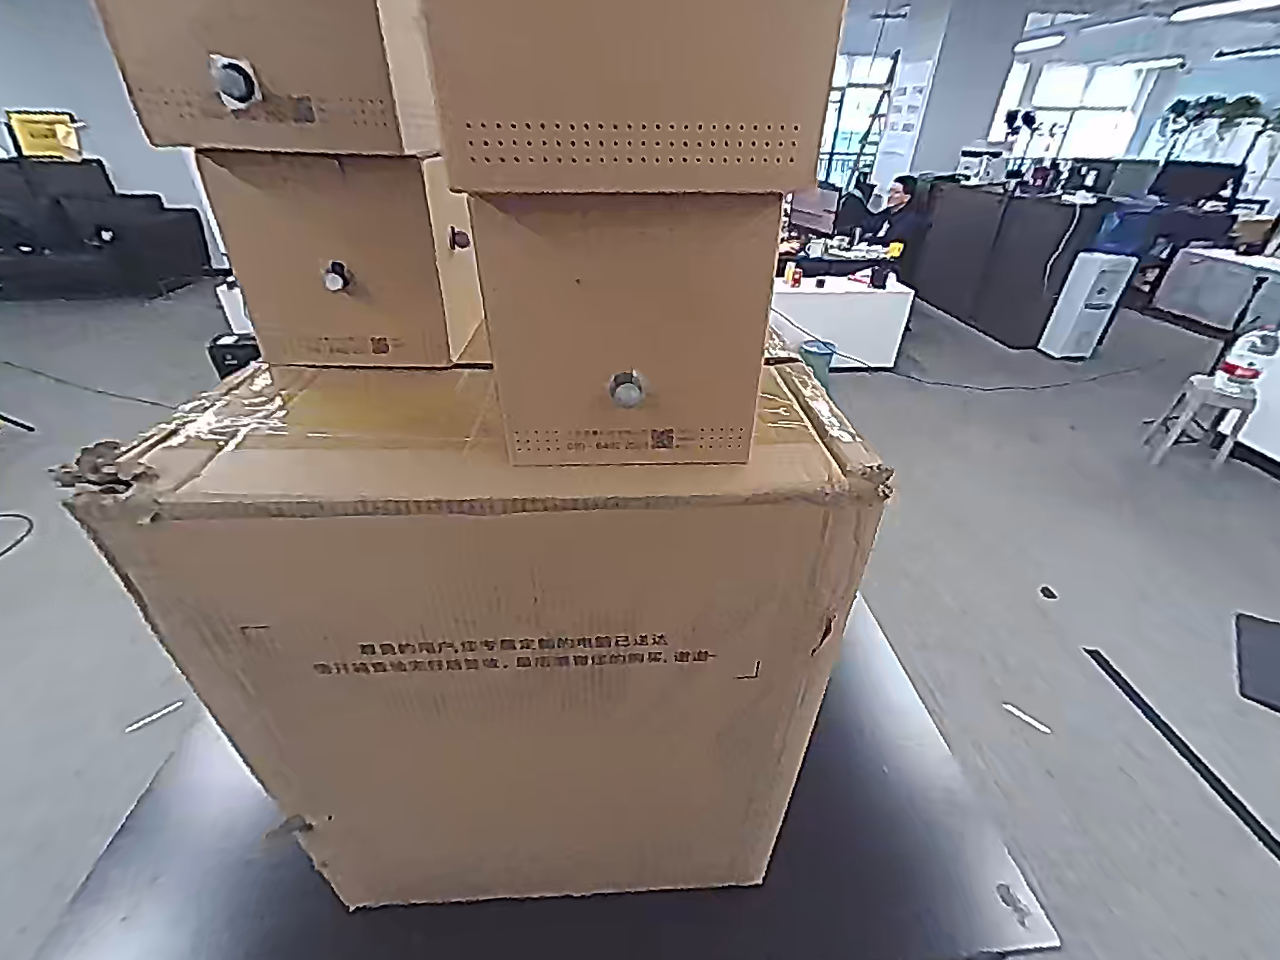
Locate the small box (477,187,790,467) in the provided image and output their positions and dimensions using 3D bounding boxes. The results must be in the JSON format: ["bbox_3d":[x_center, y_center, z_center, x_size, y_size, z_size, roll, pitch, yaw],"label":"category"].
[{"bbox_3d":[-0.006,-0.125,0.390,0.168,0.176,0.179,-1,34,-1],"label":"small box"}]

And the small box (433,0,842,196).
[{"bbox_3d":[-0.005,-0.244,0.274,0.179,0.176,0.168,-2,34,-5],"label":"small box"}]

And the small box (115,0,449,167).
[{"bbox_3d":[-0.245,-0.332,0.392,0.168,0.176,0.179,-3,34,-6],"label":"small box"}]

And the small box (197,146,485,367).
[{"bbox_3d":[-0.249,-0.214,0.510,0.168,0.176,0.179,0,33,-5],"label":"small box"}]
